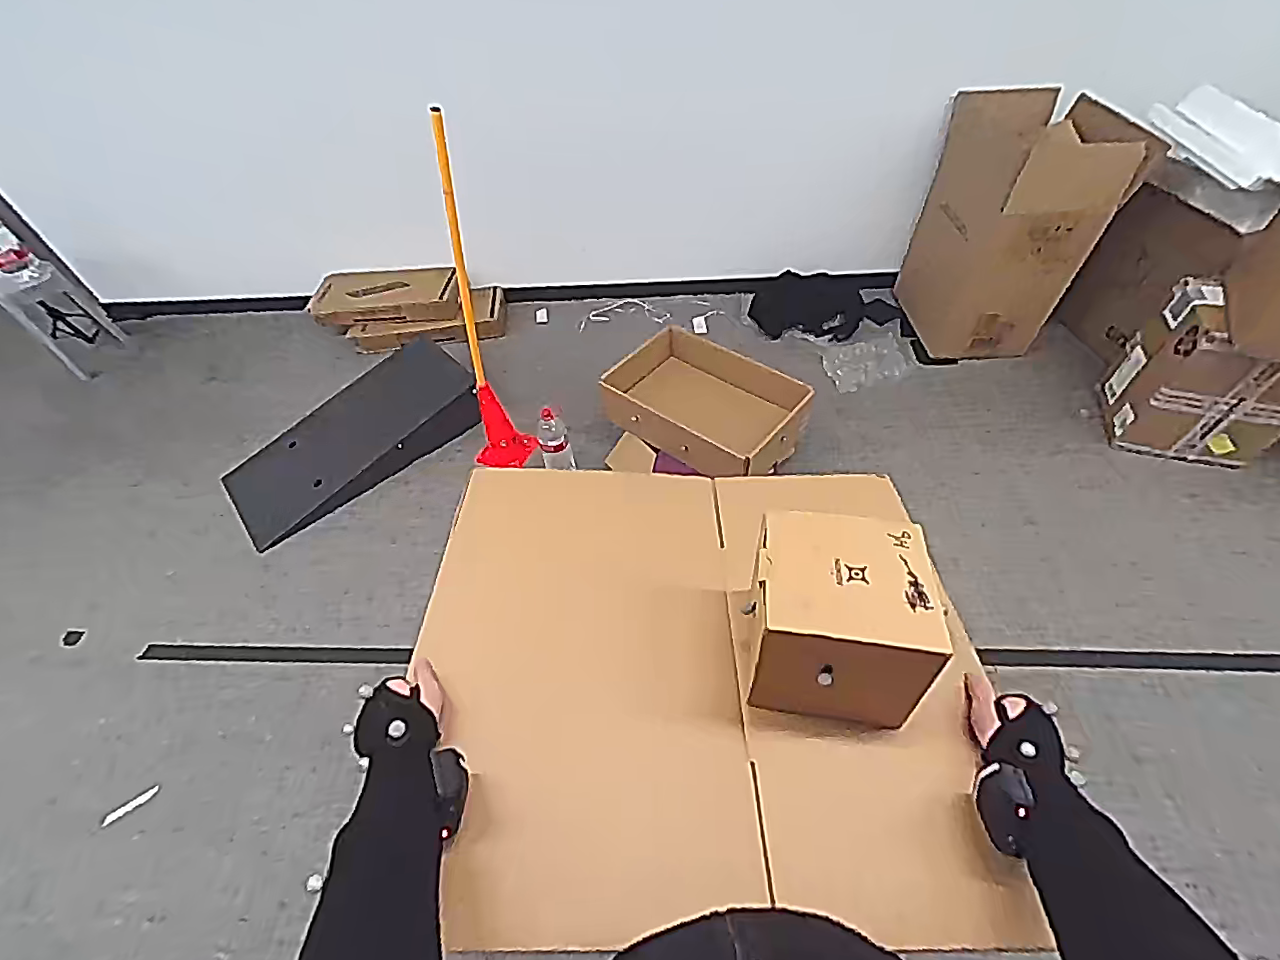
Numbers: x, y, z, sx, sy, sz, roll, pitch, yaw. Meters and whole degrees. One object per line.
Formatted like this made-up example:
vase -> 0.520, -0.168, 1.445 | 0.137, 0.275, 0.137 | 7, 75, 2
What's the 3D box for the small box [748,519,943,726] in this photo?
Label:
small box -> 0.221, 0.167, 0.634 | 0.179, 0.176, 0.168 | 5, 44, 9
